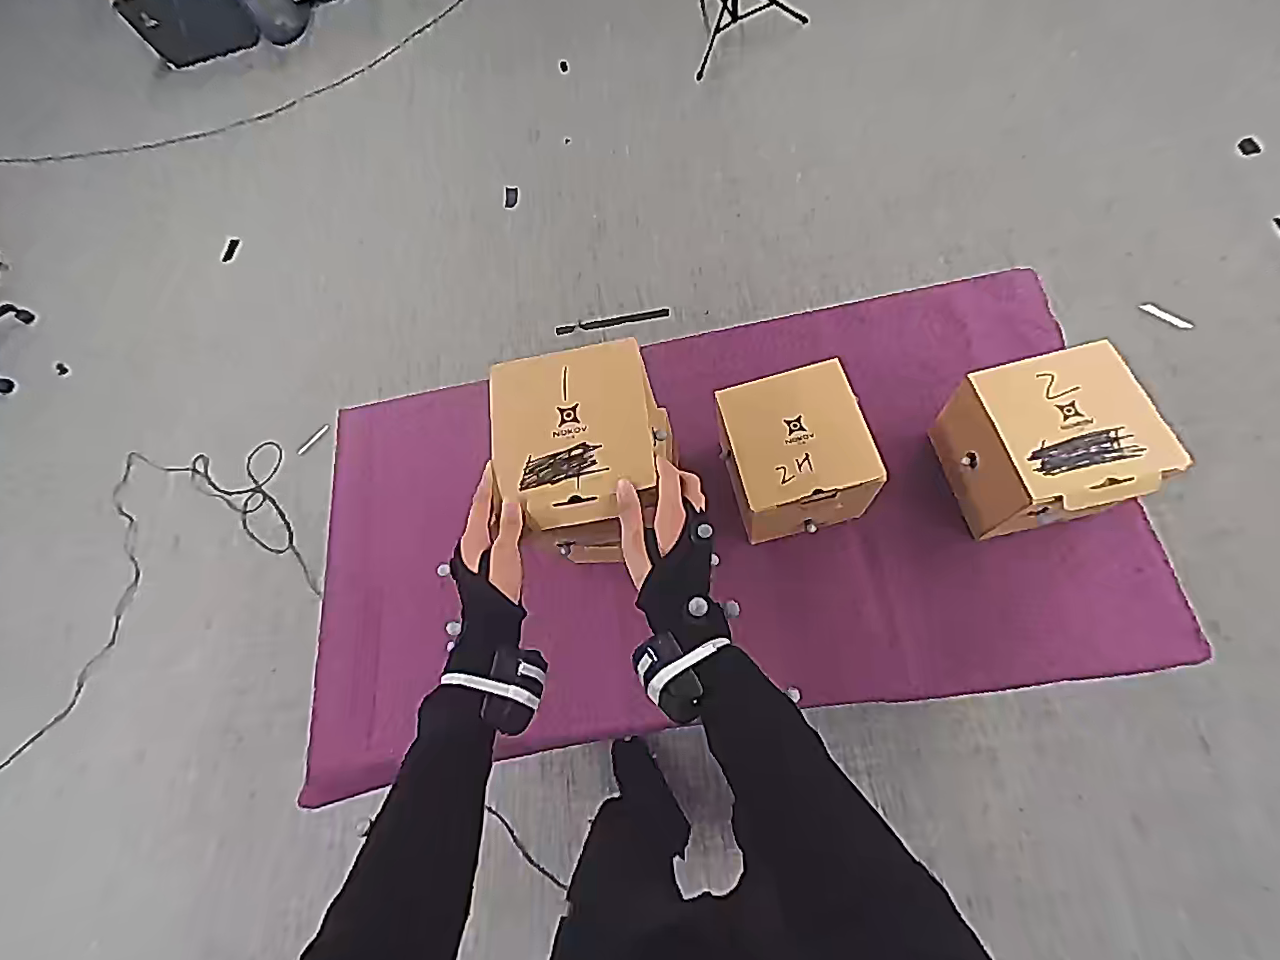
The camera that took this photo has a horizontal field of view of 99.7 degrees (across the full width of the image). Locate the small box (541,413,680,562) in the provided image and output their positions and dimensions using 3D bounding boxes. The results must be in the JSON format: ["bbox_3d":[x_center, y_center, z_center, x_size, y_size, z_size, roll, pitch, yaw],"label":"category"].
[{"bbox_3d":[-0.032,0.020,0.783,0.168,0.176,0.179,-1,69,10],"label":"small box"}]

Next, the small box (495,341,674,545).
[{"bbox_3d":[-0.058,-0.029,0.629,0.168,0.176,0.179,-9,68,6],"label":"small box"}]

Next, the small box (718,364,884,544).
[{"bbox_3d":[0.210,-0.027,0.752,0.168,0.176,0.179,-15,68,6],"label":"small box"}]
